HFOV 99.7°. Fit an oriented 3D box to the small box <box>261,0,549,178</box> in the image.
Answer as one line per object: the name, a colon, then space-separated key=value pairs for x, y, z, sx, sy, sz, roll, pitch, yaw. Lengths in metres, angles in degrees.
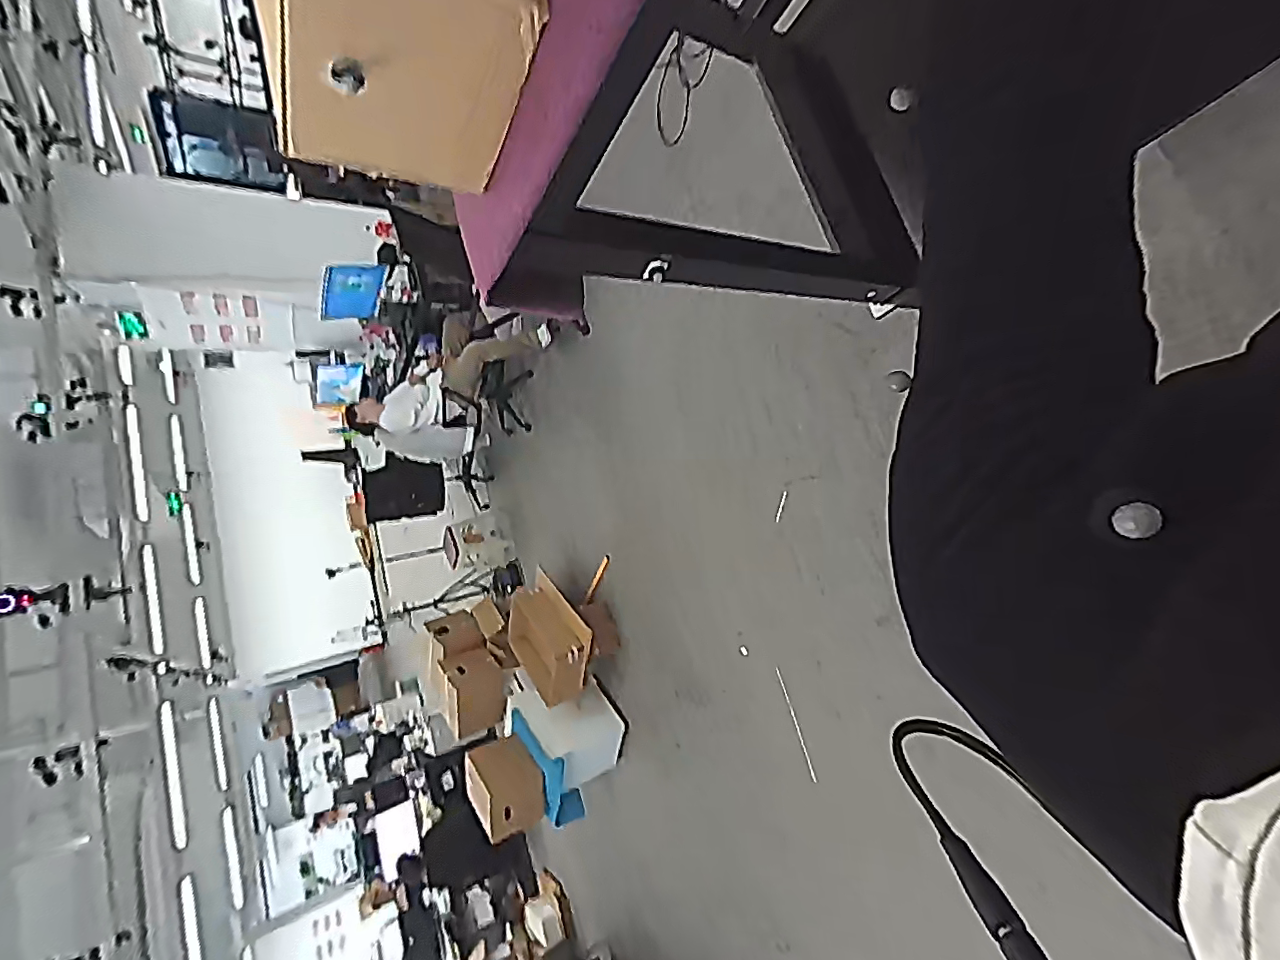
small box: x=-0.188 y=-0.373 z=0.418 sx=0.179 sy=0.176 sz=0.168 roll=-33 pitch=70 yaw=52
